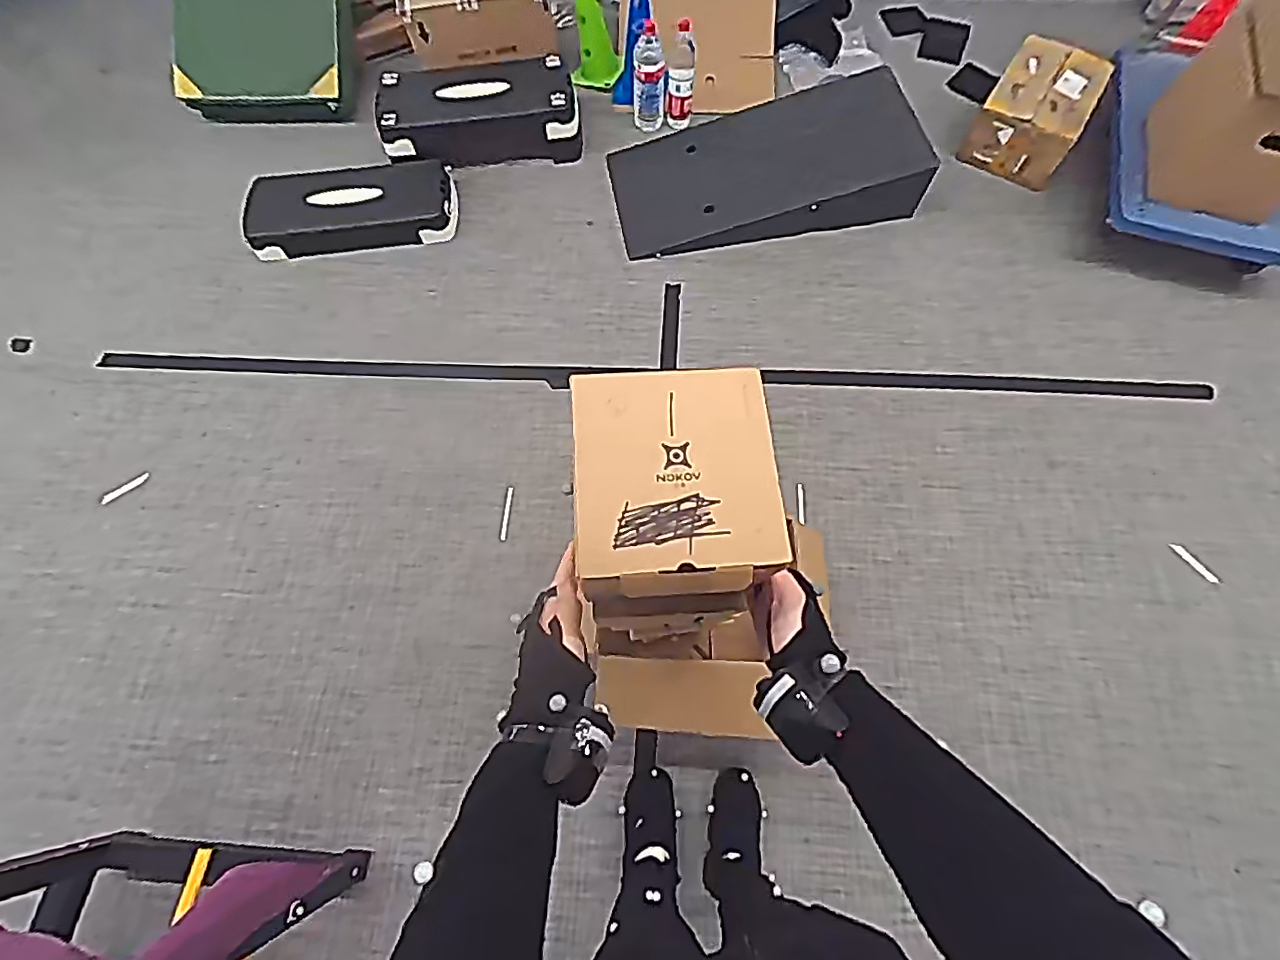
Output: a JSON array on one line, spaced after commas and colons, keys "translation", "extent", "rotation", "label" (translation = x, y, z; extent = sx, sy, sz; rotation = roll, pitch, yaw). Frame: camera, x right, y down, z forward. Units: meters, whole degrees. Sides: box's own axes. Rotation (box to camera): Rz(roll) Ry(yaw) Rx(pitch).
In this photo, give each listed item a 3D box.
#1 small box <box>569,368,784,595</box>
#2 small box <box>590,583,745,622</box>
[{"translation": [0.023, 0.013, 0.513], "extent": [0.168, 0.176, 0.179], "rotation": [-3, 72, -4], "label": "small box"}, {"translation": [0.024, 0.082, 0.663], "extent": [0.168, 0.176, 0.179], "rotation": [-2, 72, -4], "label": "small box"}]
